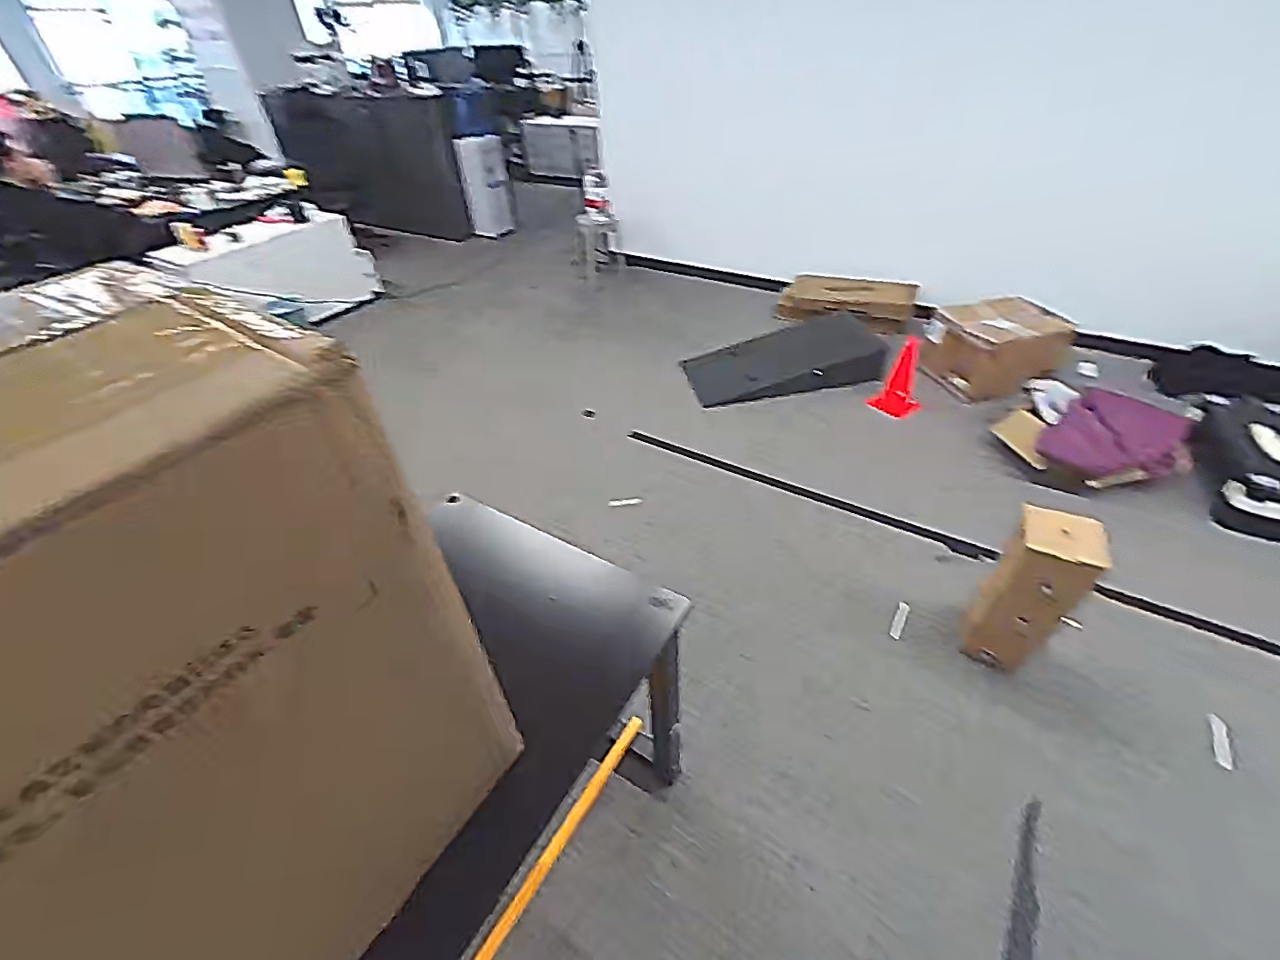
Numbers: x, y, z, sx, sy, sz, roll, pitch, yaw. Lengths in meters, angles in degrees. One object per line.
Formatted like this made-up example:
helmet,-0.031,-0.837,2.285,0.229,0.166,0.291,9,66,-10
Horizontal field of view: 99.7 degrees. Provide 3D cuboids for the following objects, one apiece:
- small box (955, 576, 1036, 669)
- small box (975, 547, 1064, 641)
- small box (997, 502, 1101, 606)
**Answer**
small box,1.072,0.430,1.630,0.168,0.176,0.179,18,46,25
small box,1.059,0.317,1.511,0.168,0.176,0.179,19,46,25
small box,1.049,0.191,1.403,0.168,0.176,0.179,15,44,22
